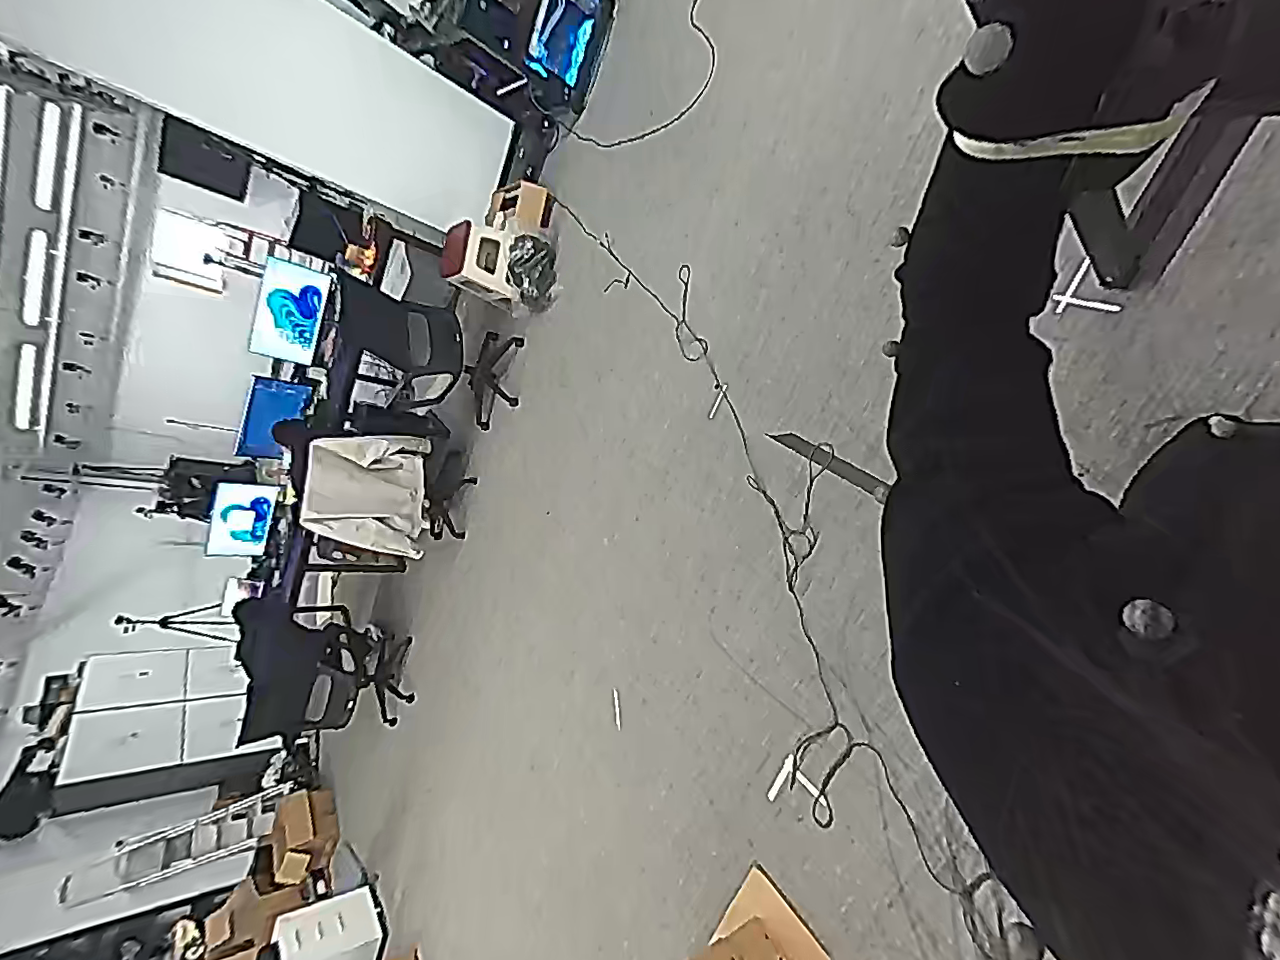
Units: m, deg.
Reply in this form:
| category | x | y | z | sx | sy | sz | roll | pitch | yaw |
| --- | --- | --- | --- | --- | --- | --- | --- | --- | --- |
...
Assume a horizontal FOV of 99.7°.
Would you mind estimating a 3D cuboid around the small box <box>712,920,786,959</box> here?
| category | x | y | z | sx | sy | sz | roll | pitch | yaw |
| --- | --- | --- | --- | --- | --- | --- | --- | --- | --- |
| small box | 0.312 | 1.432 | 1.558 | 0.168 | 0.176 | 0.179 | 31 | 107 | 46 |
